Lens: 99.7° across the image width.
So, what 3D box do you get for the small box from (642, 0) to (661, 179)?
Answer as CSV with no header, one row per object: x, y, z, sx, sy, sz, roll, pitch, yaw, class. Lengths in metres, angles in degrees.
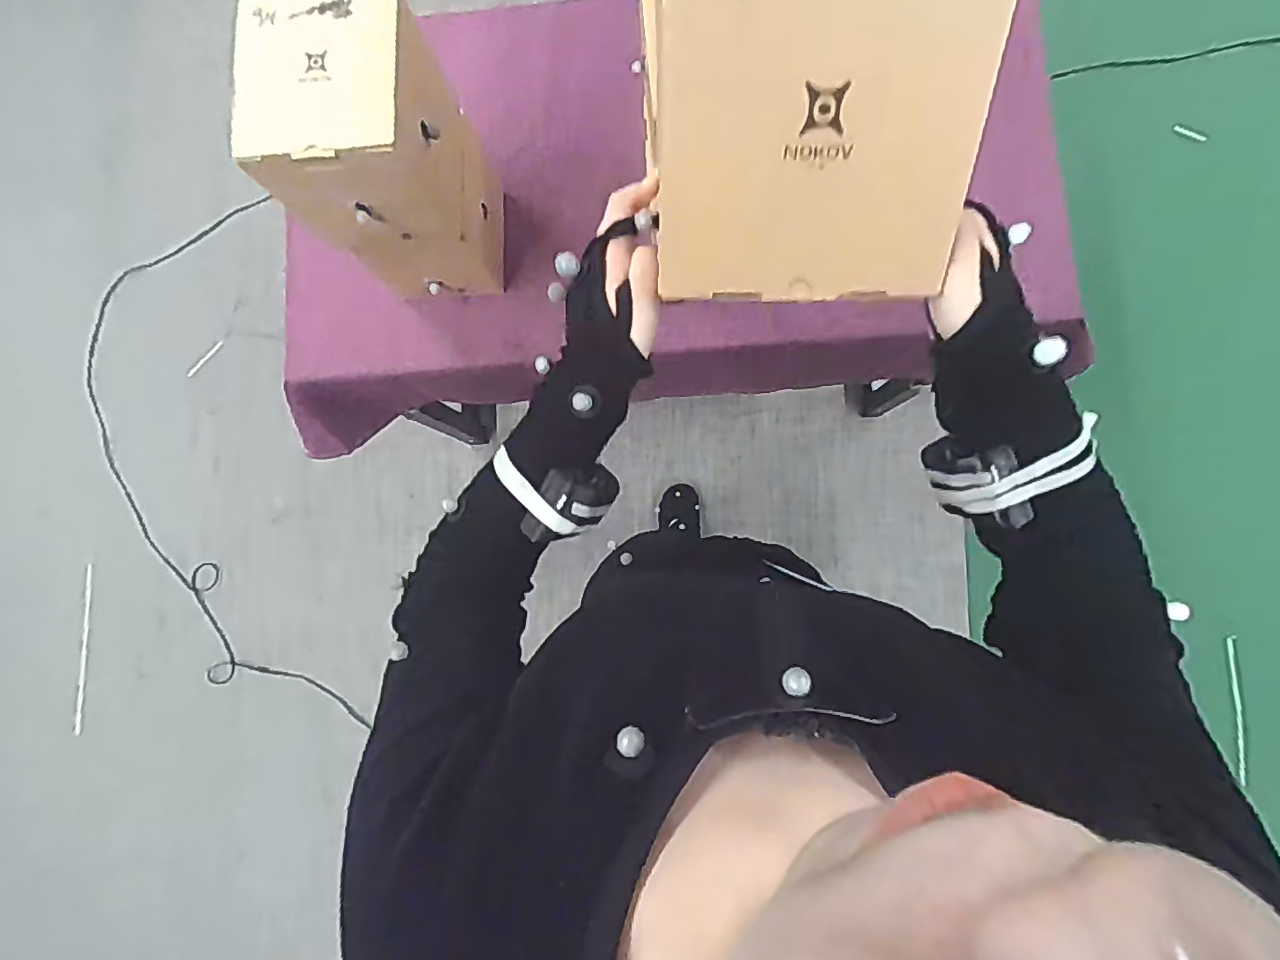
0.089,-0.438,0.593,0.168,0.176,0.179,-5,85,4,small box

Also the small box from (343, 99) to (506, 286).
-0.298,-0.401,0.779,0.168,0.176,0.179,-2,85,3,small box

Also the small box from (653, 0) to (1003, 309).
0.093,-0.221,0.358,0.168,0.176,0.179,0,122,1,small box

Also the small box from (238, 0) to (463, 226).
-0.311,-0.409,0.615,0.168,0.176,0.179,-1,85,3,small box
